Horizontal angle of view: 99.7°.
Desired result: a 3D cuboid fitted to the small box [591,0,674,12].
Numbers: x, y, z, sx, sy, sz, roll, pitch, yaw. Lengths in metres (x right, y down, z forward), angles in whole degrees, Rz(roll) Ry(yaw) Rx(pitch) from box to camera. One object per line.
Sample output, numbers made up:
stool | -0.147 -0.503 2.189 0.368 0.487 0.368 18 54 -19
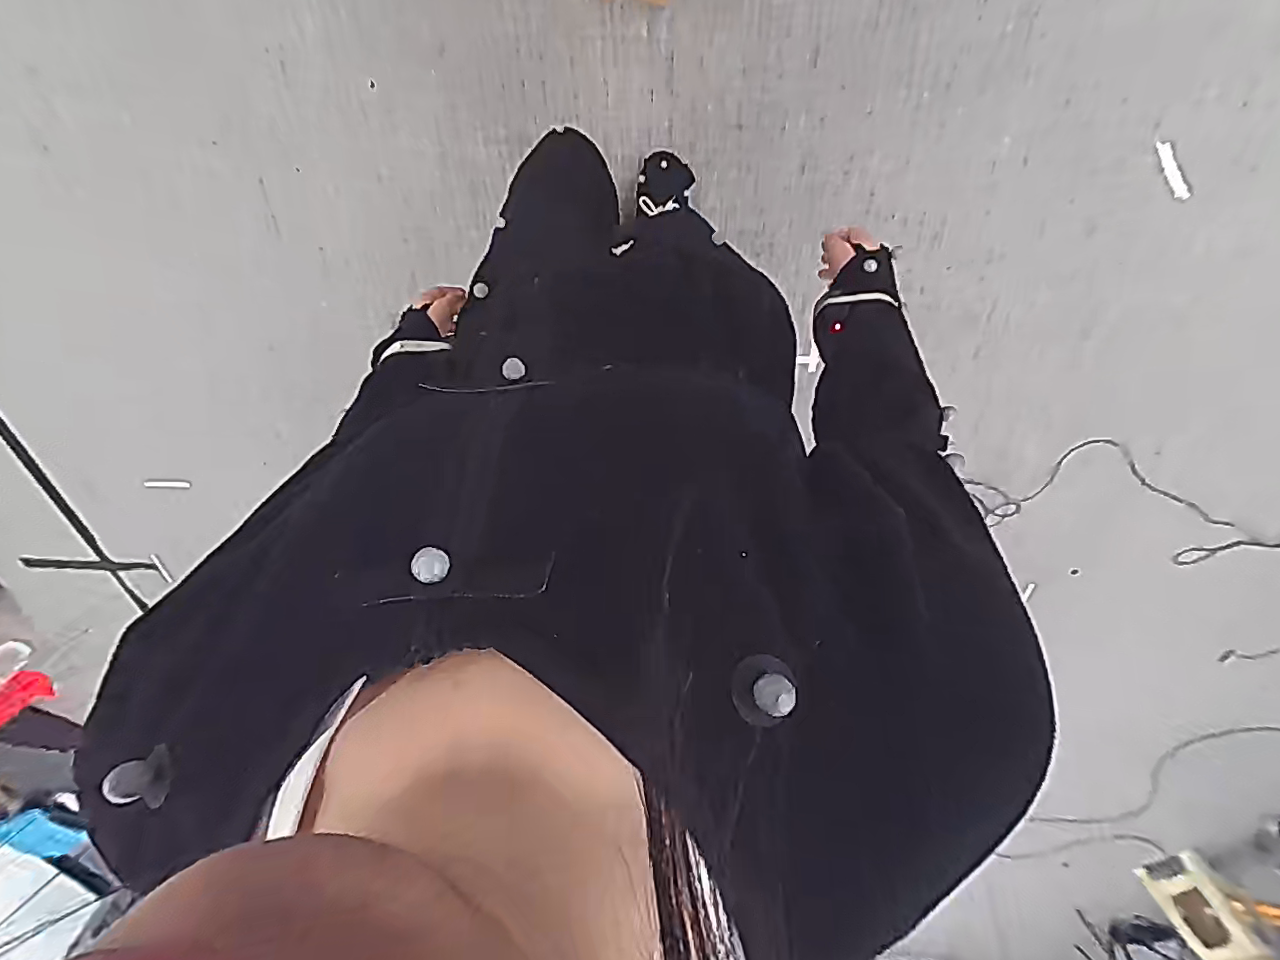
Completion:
small box | -0.015 -0.942 0.942 0.179 0.176 0.168 7 125 -2
